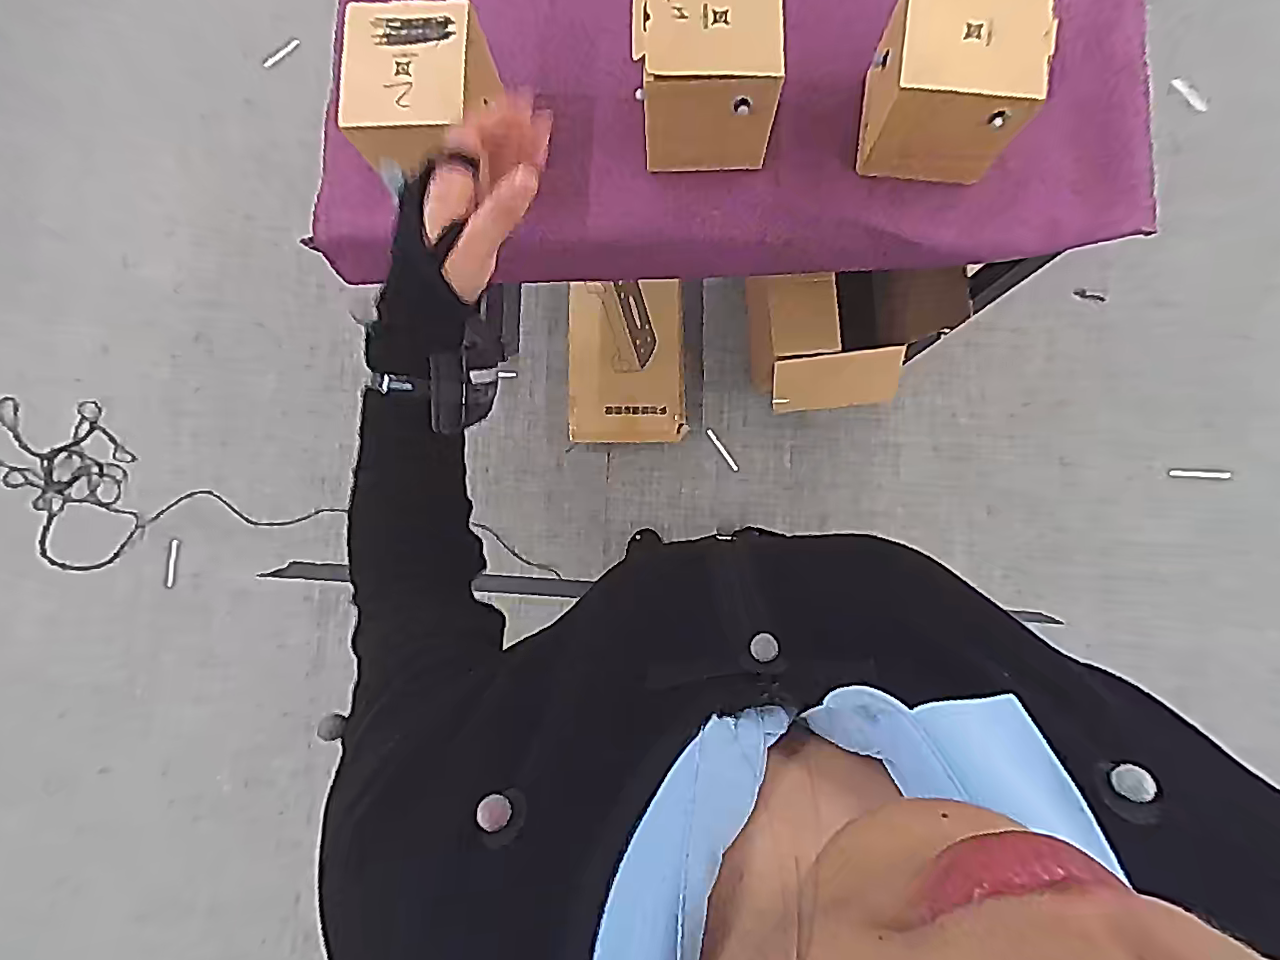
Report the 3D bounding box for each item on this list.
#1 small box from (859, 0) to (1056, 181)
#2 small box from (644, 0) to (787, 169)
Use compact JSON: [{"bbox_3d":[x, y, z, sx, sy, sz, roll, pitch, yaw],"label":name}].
[{"bbox_3d":[0.414,-0.536,0.731,0.179,0.176,0.168,7,85,4],"label":"small box"},{"bbox_3d":[0.097,-0.561,0.749,0.179,0.176,0.168,0,83,3],"label":"small box"}]
